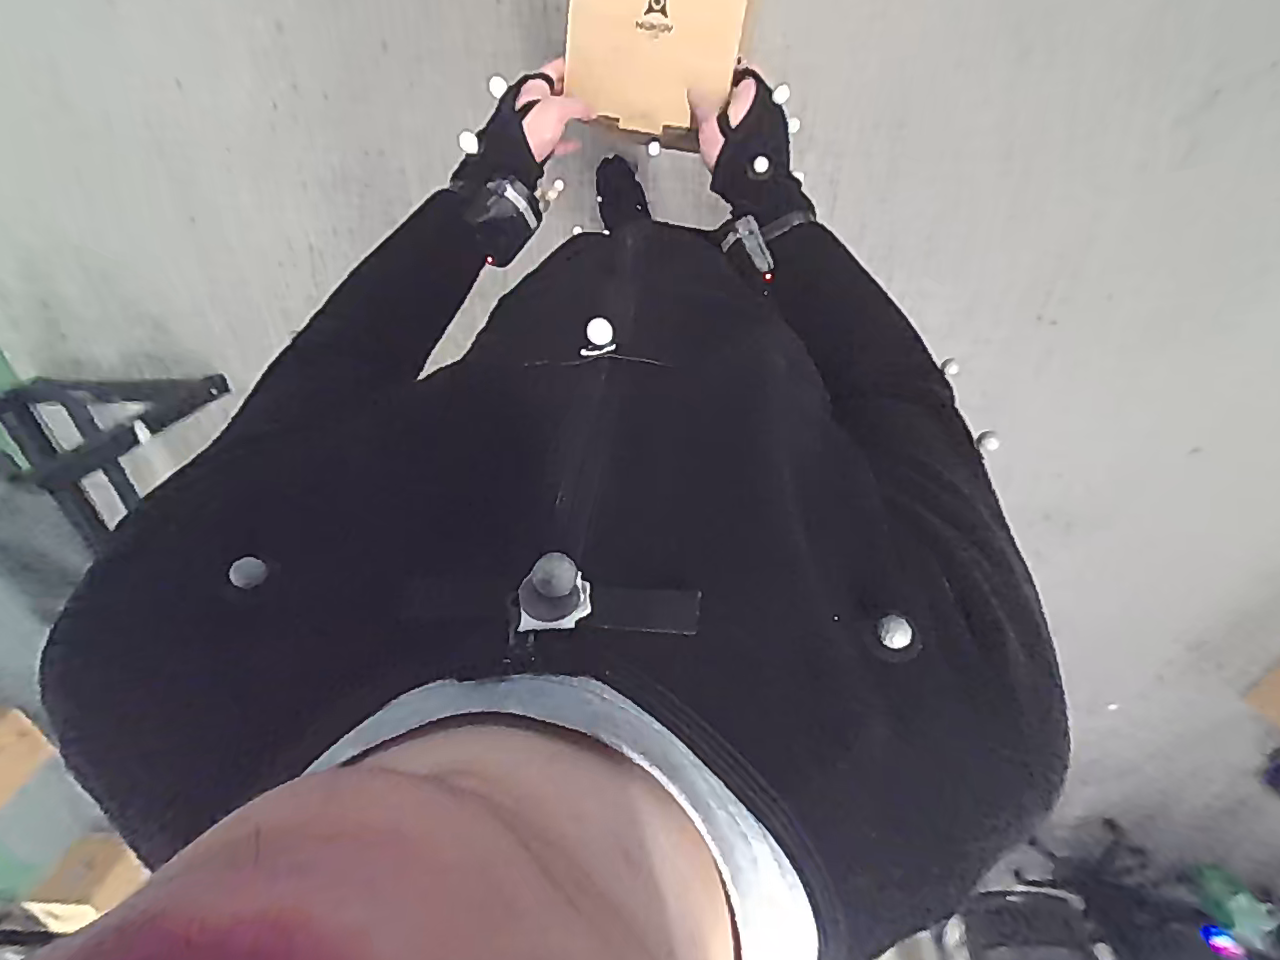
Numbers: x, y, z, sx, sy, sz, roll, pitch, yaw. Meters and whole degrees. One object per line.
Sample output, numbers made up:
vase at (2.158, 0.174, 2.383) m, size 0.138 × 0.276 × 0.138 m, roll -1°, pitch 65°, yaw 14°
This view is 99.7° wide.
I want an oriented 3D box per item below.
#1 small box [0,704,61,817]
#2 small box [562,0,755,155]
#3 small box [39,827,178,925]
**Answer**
small box at (-1.450, 0.610, 1.187) m, size 0.179 × 0.176 × 0.168 m, roll 2°, pitch 120°, yaw 1°
small box at (0.026, -0.460, 0.575) m, size 0.168 × 0.176 × 0.179 m, roll 12°, pitch 117°, yaw 7°
small box at (-1.422, 1.065, 1.461) m, size 0.179 × 0.176 × 0.168 m, roll 0°, pitch 121°, yaw 1°
